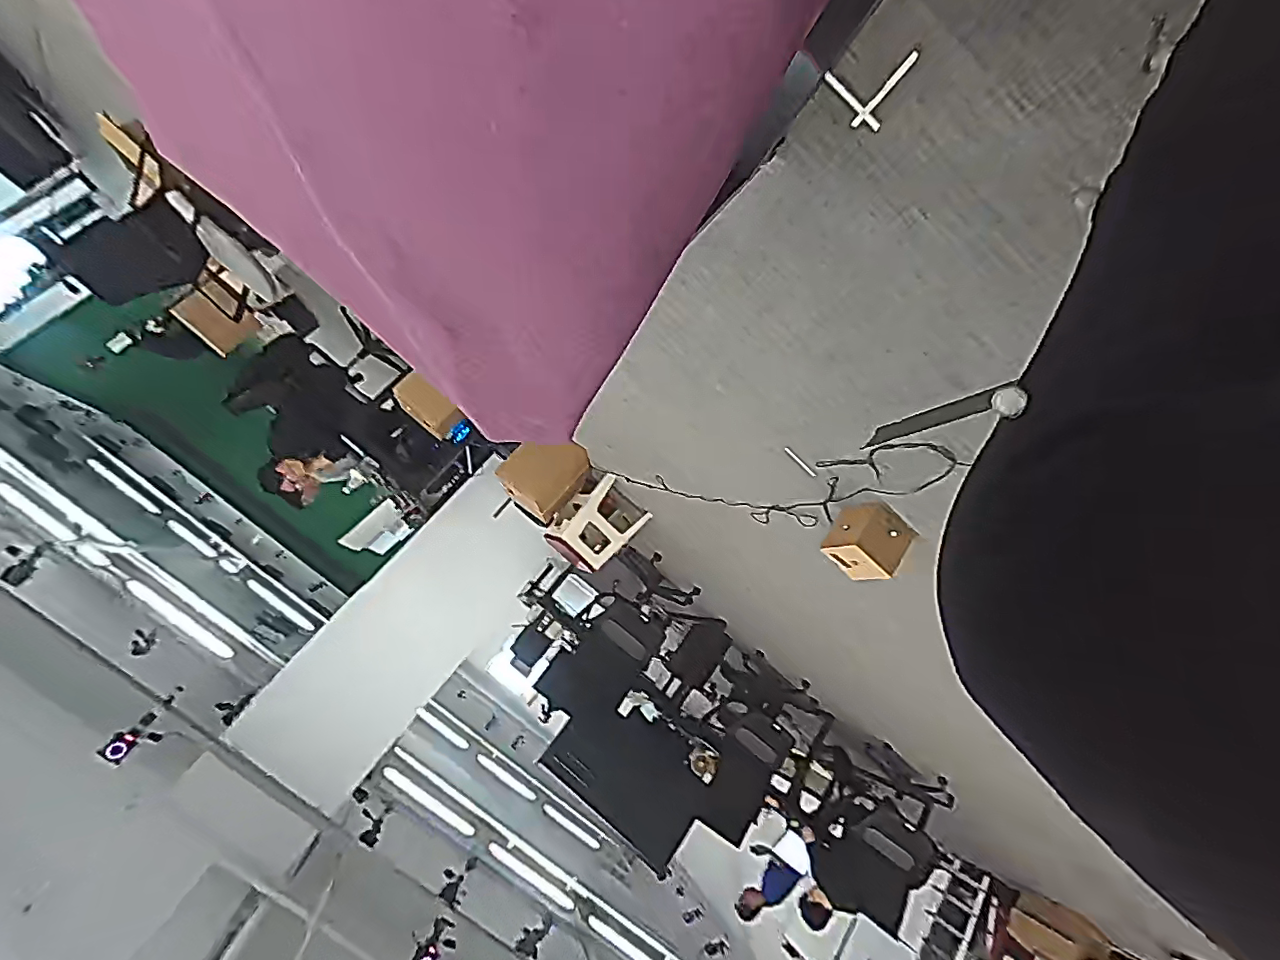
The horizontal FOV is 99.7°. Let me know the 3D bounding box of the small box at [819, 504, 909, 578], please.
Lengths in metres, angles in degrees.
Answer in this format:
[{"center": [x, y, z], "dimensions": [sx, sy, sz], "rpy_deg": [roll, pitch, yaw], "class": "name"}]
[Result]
[{"center": [0.720, 0.197, 1.736], "dimensions": [0.168, 0.176, 0.179], "rpy_deg": [41, 159, -7], "class": "small box"}]
